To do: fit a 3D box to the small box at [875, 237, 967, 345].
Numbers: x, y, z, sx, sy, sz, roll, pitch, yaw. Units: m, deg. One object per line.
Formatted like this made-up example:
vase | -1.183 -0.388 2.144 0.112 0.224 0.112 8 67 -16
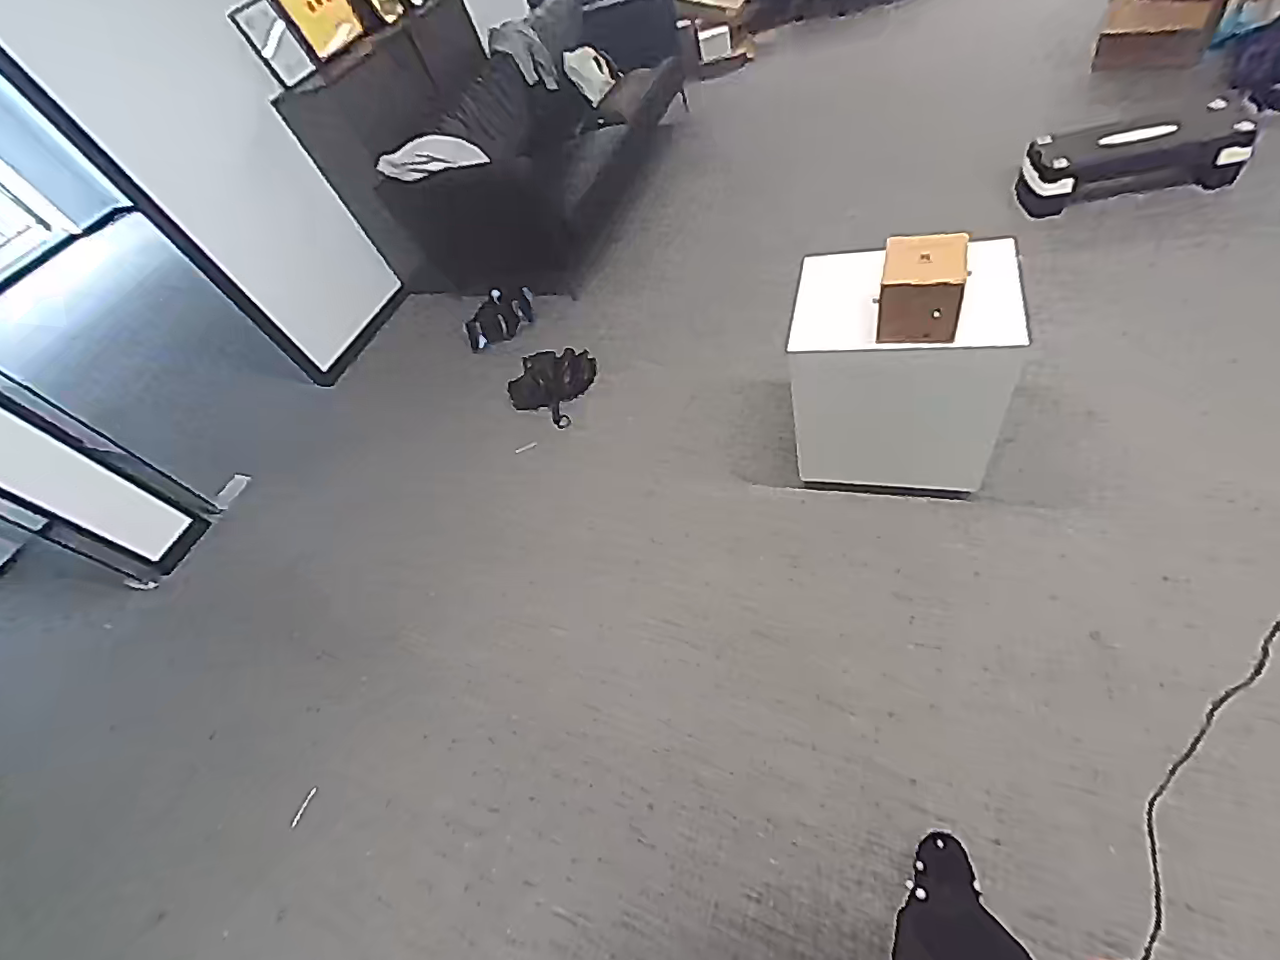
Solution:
small box | 0.639 -0.427 1.238 0.168 0.176 0.179 7 55 23
